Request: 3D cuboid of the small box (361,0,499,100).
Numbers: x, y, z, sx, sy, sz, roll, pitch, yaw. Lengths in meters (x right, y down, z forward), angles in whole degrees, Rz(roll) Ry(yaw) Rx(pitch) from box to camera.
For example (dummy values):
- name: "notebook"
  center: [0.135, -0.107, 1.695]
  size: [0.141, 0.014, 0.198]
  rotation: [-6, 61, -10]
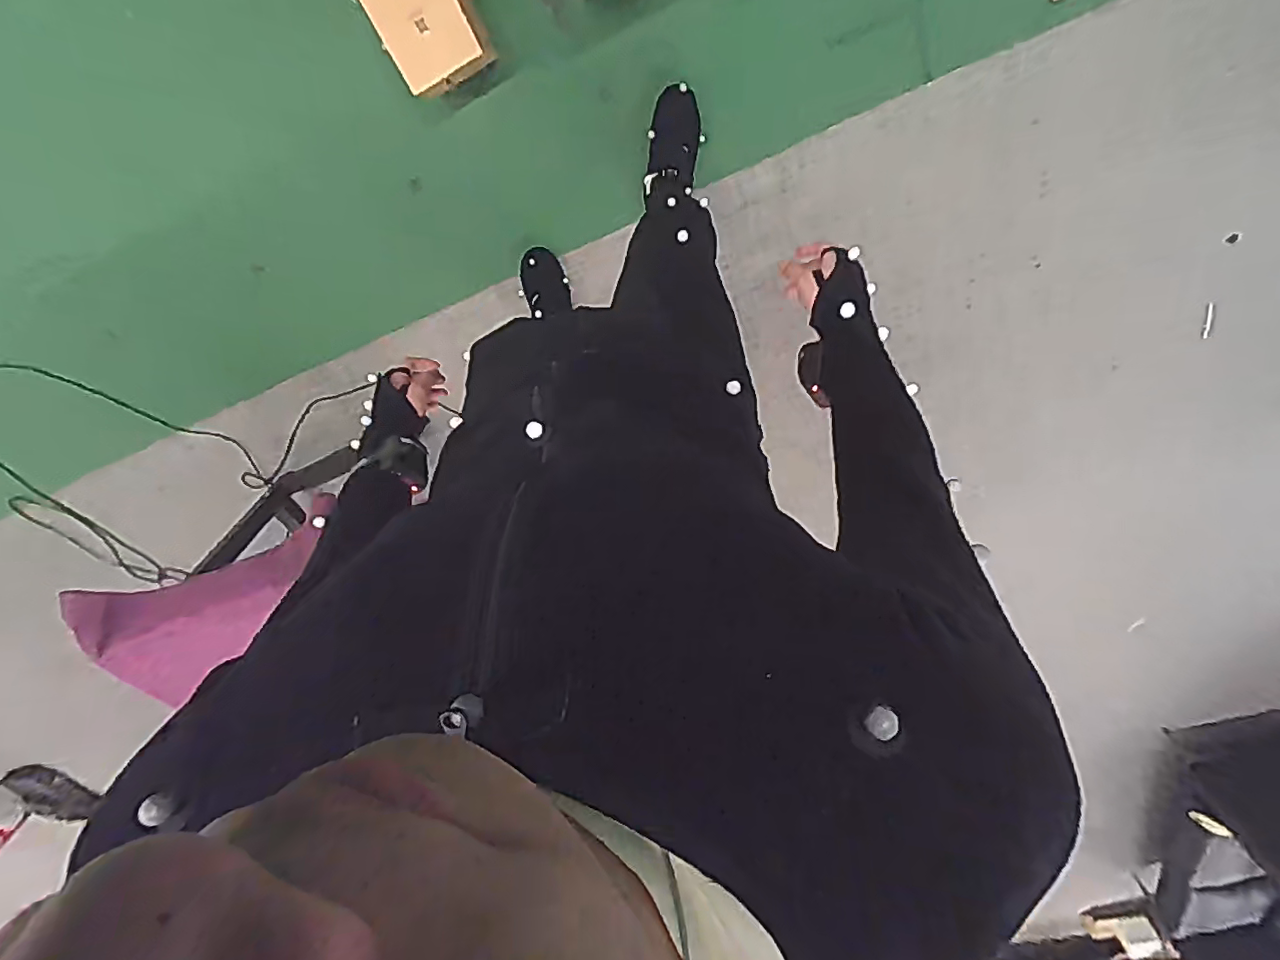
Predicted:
- name: "small box"
  center: [-0.405, -0.893, 1.074]
  size: [0.168, 0.176, 0.179]
  rotation: [-21, 122, 14]
